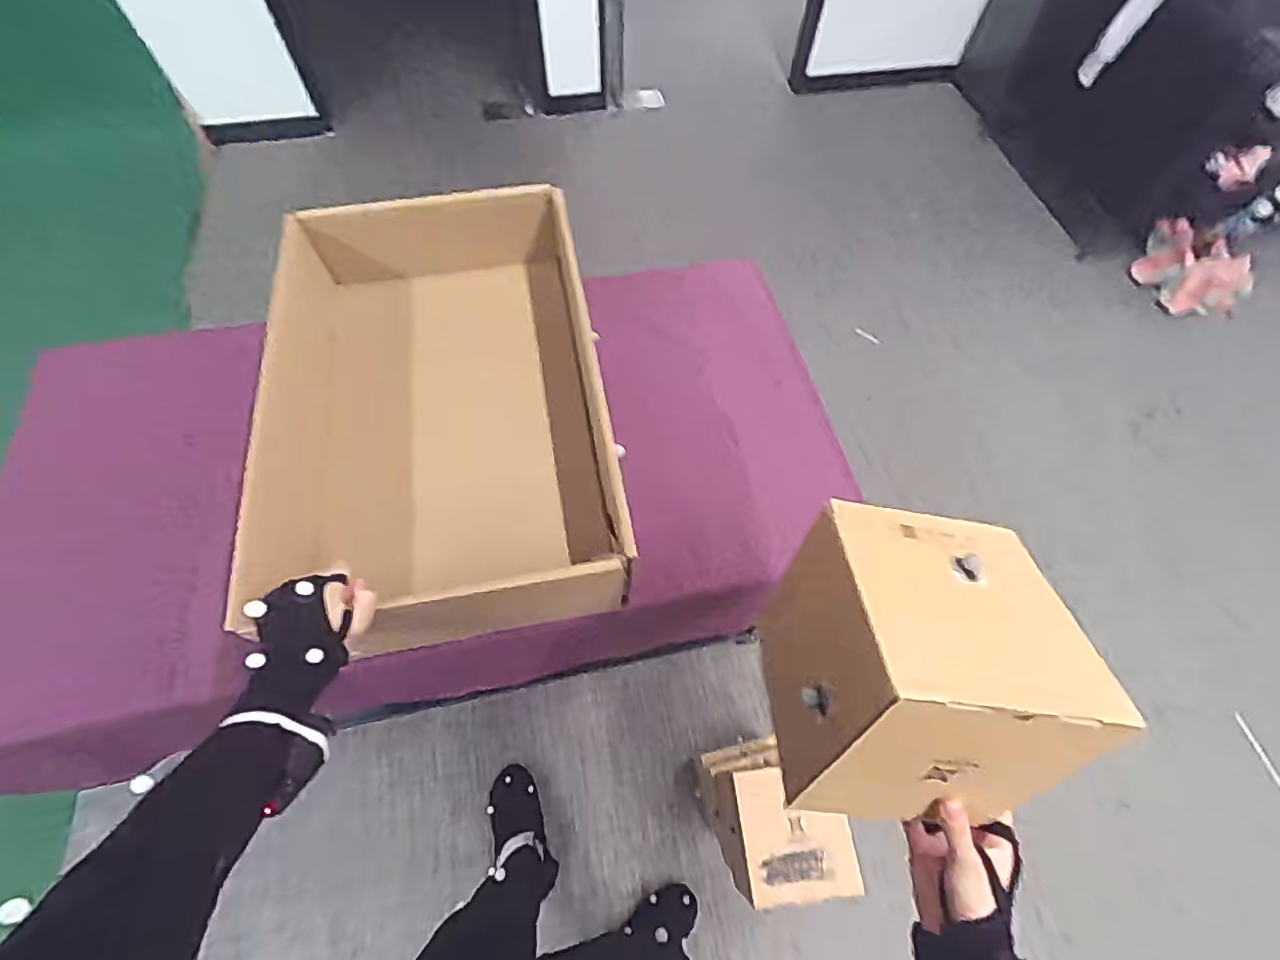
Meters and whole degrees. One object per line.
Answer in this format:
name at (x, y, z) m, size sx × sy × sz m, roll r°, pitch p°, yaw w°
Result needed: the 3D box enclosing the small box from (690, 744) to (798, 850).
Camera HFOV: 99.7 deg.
small box at (0.220, 0.688, 1.192) m, size 0.179 × 0.176 × 0.168 m, roll -11°, pitch 64°, yaw -6°
